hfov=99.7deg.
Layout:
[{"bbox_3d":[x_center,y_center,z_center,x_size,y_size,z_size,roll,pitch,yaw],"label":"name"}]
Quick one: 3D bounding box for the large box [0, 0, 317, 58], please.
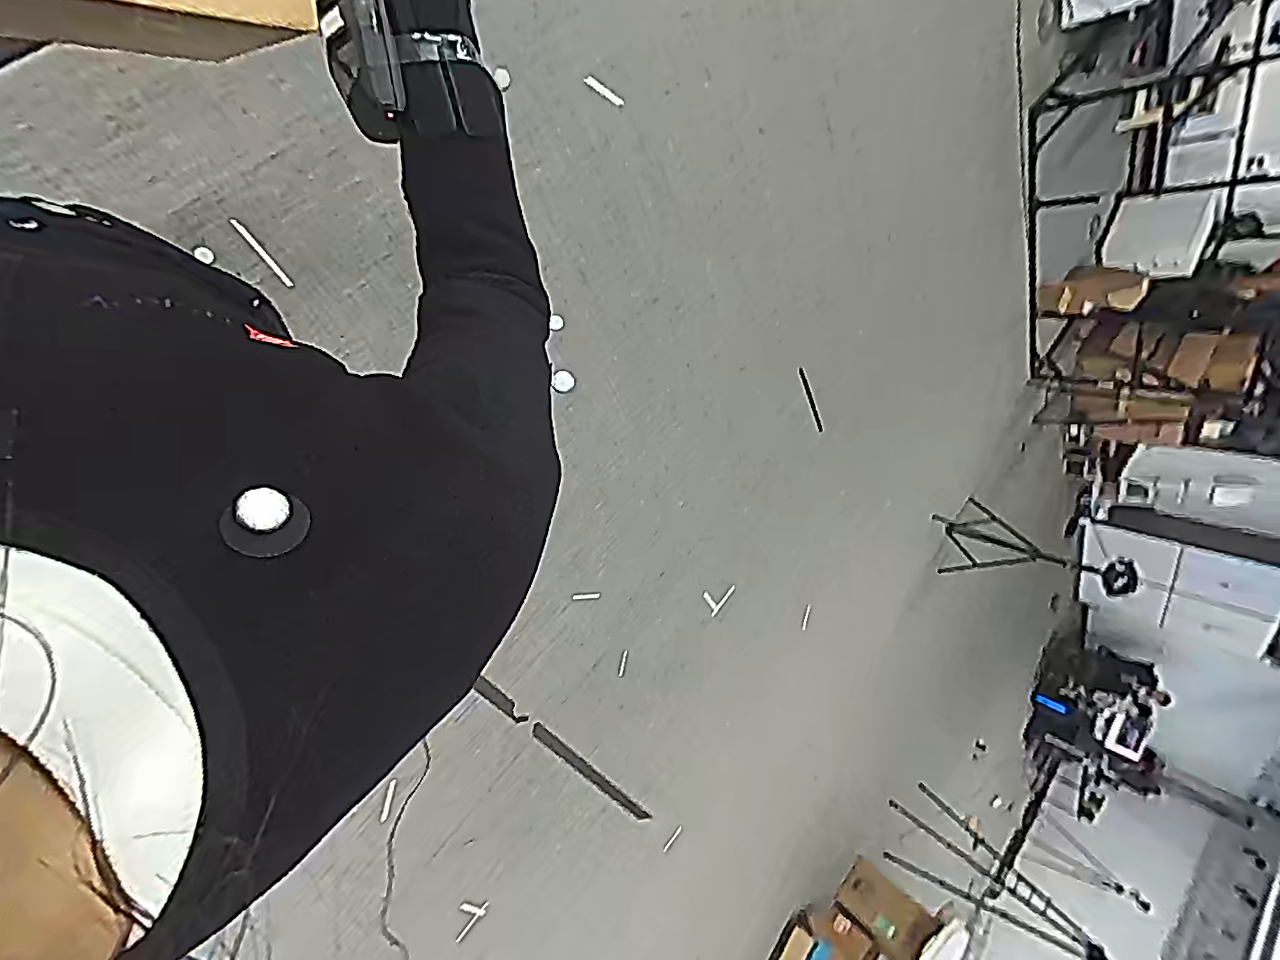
[{"bbox_3d":[-0.431,-0.397,0.220,0.408,0.320,0.320,-23,132,-37],"label":"large box"}]
